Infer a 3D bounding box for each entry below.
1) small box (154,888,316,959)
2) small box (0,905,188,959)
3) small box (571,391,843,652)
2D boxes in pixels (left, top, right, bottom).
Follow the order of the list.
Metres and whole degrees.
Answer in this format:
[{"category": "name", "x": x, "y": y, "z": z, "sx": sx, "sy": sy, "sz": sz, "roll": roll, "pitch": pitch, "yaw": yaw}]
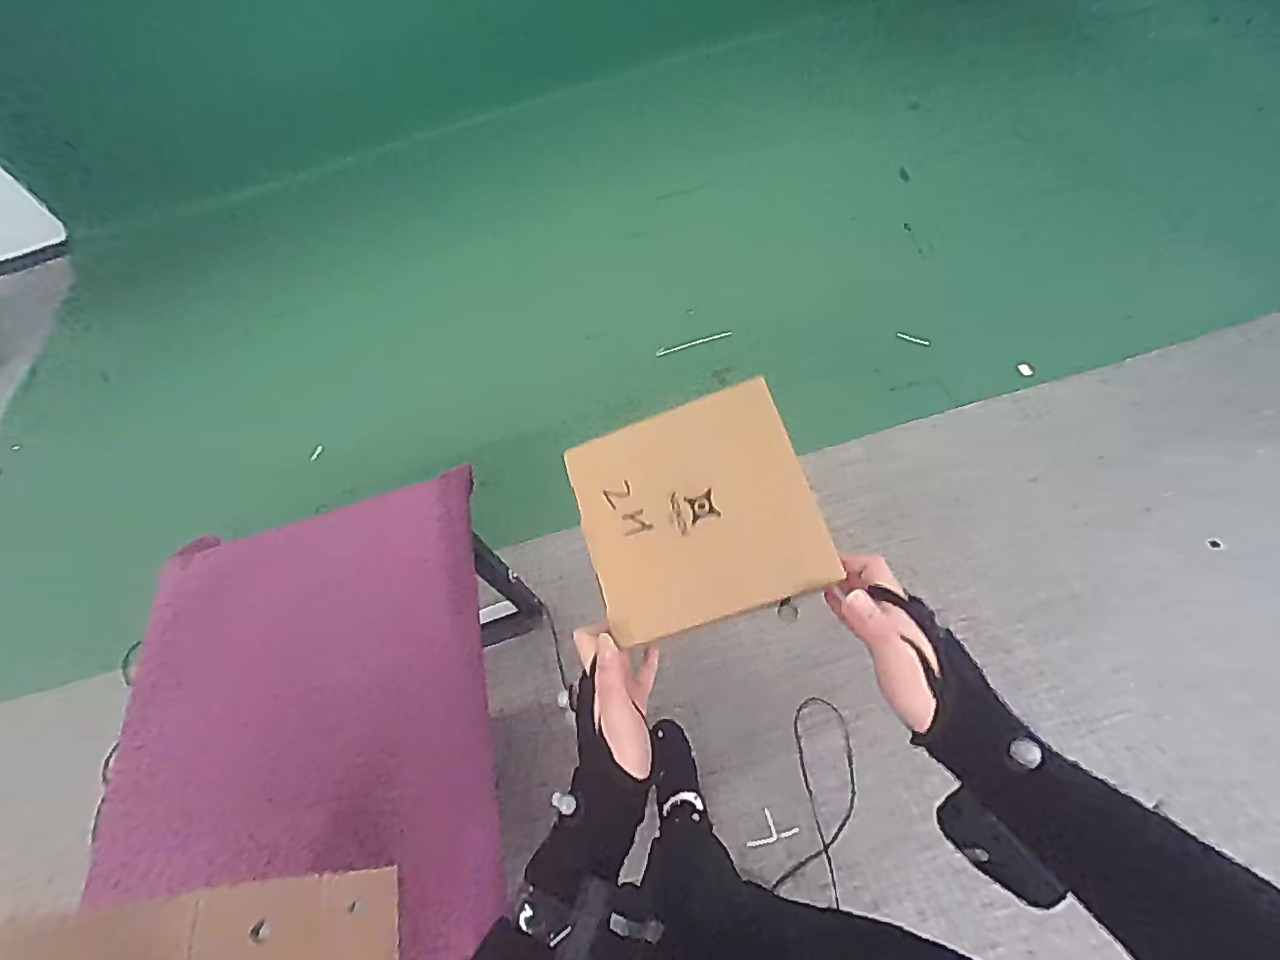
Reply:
[{"category": "small box", "x": -0.444, "y": 0.517, "z": 0.519, "sx": 0.168, "sy": 0.176, "sz": 0.179, "roll": -18, "pitch": 56, "yaw": 1}, {"category": "small box", "x": -0.481, "y": 0.432, "z": 0.384, "sx": 0.179, "sy": 0.176, "sz": 0.168, "roll": -19, "pitch": 55, "yaw": 0}, {"category": "small box", "x": 0.061, "y": 0.049, "z": 0.492, "sx": 0.179, "sy": 0.176, "sz": 0.168, "roll": -20, "pitch": 70, "yaw": 9}]
